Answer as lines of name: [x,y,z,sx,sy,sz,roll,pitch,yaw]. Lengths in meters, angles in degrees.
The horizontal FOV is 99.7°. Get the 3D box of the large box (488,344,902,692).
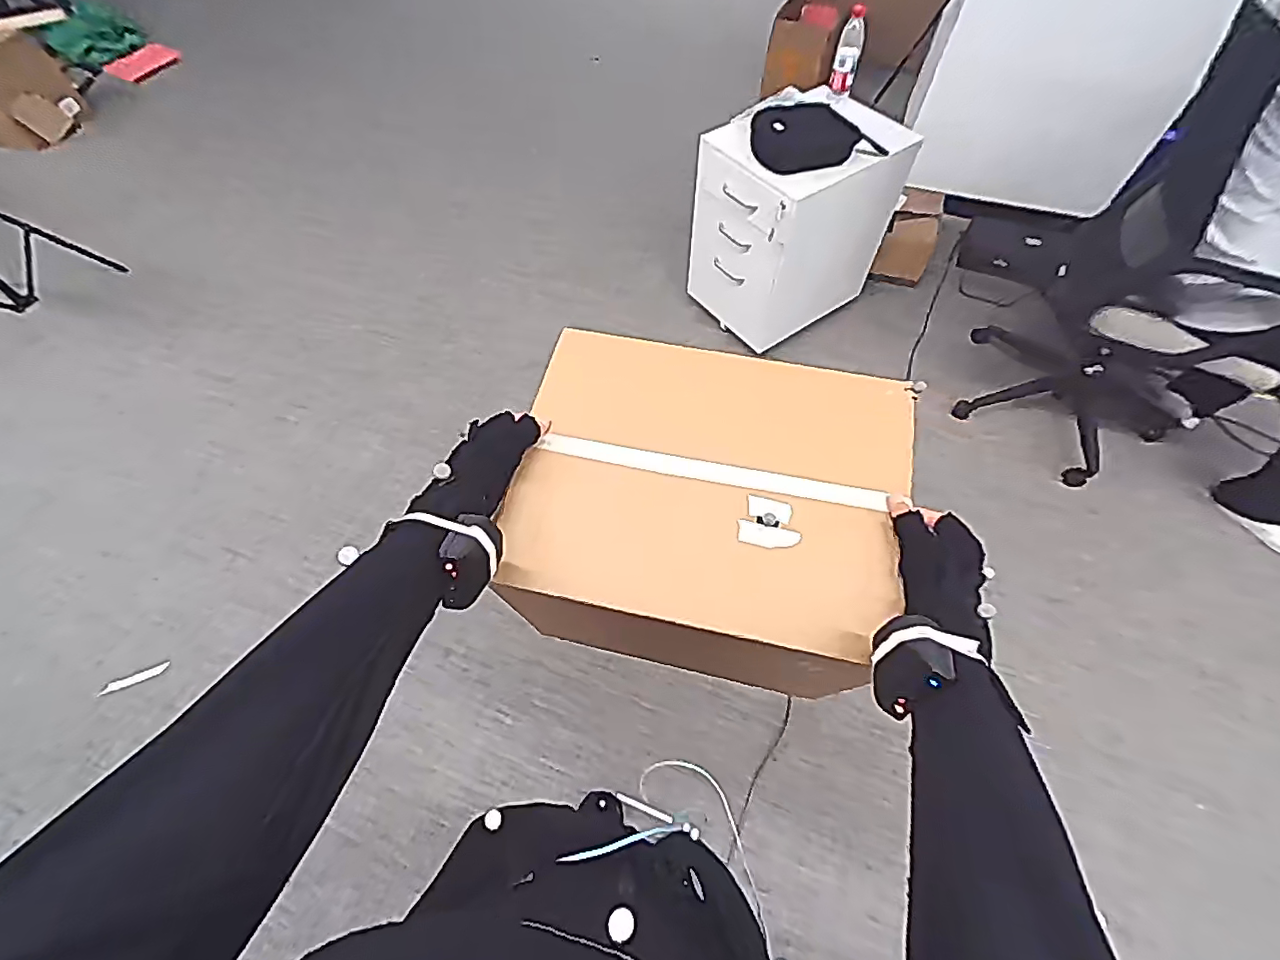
large box: [0.074,0.065,0.707,0.408,0.320,0.320,11,66,7]
